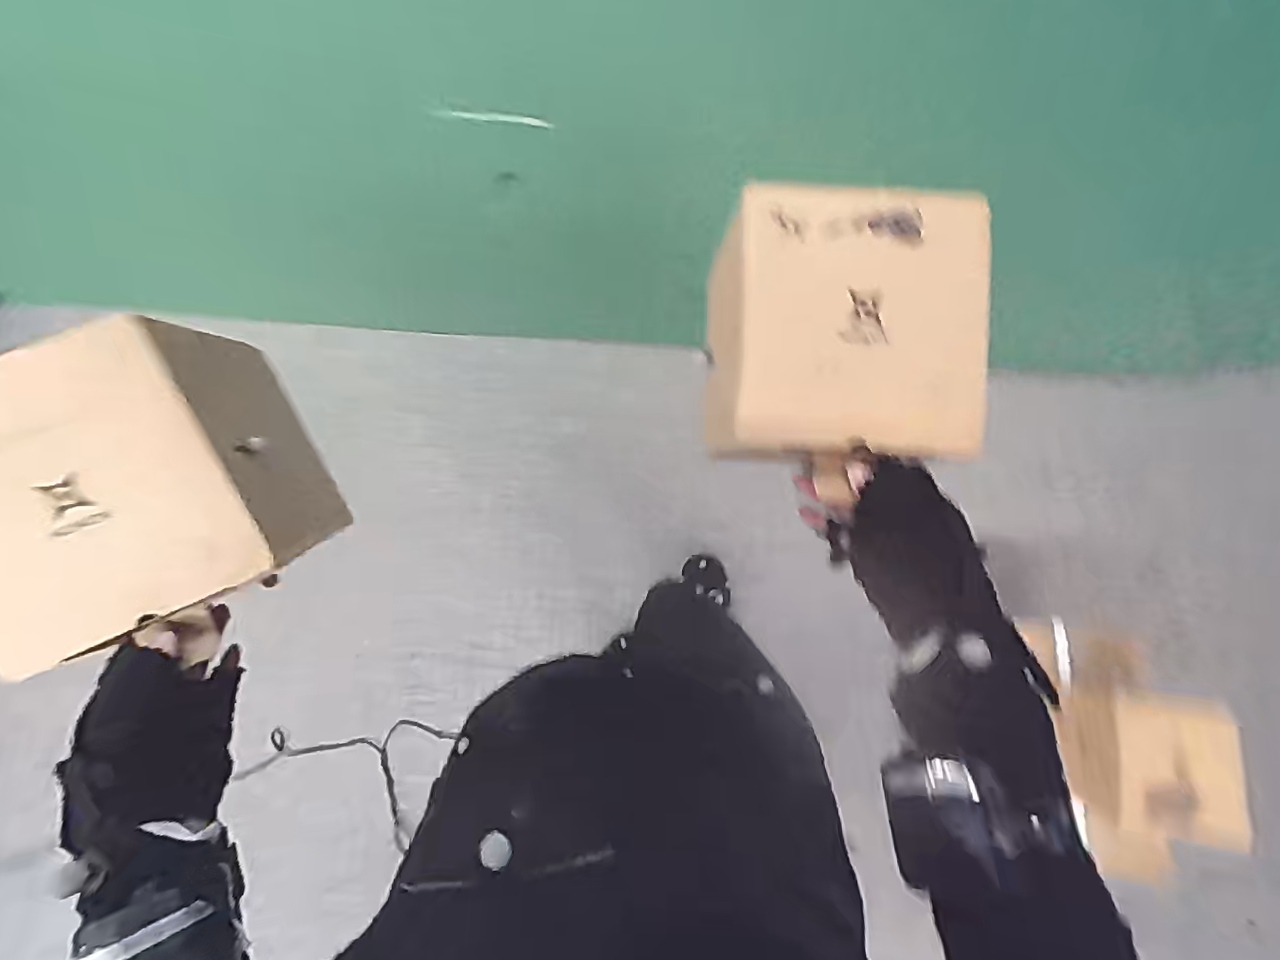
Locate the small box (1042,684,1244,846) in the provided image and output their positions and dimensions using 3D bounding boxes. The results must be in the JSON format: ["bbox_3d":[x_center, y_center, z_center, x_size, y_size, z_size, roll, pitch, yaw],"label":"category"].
[{"bbox_3d":[0.776,0.437,0.855,0.168,0.176,0.179,2,80,7],"label":"small box"}]
